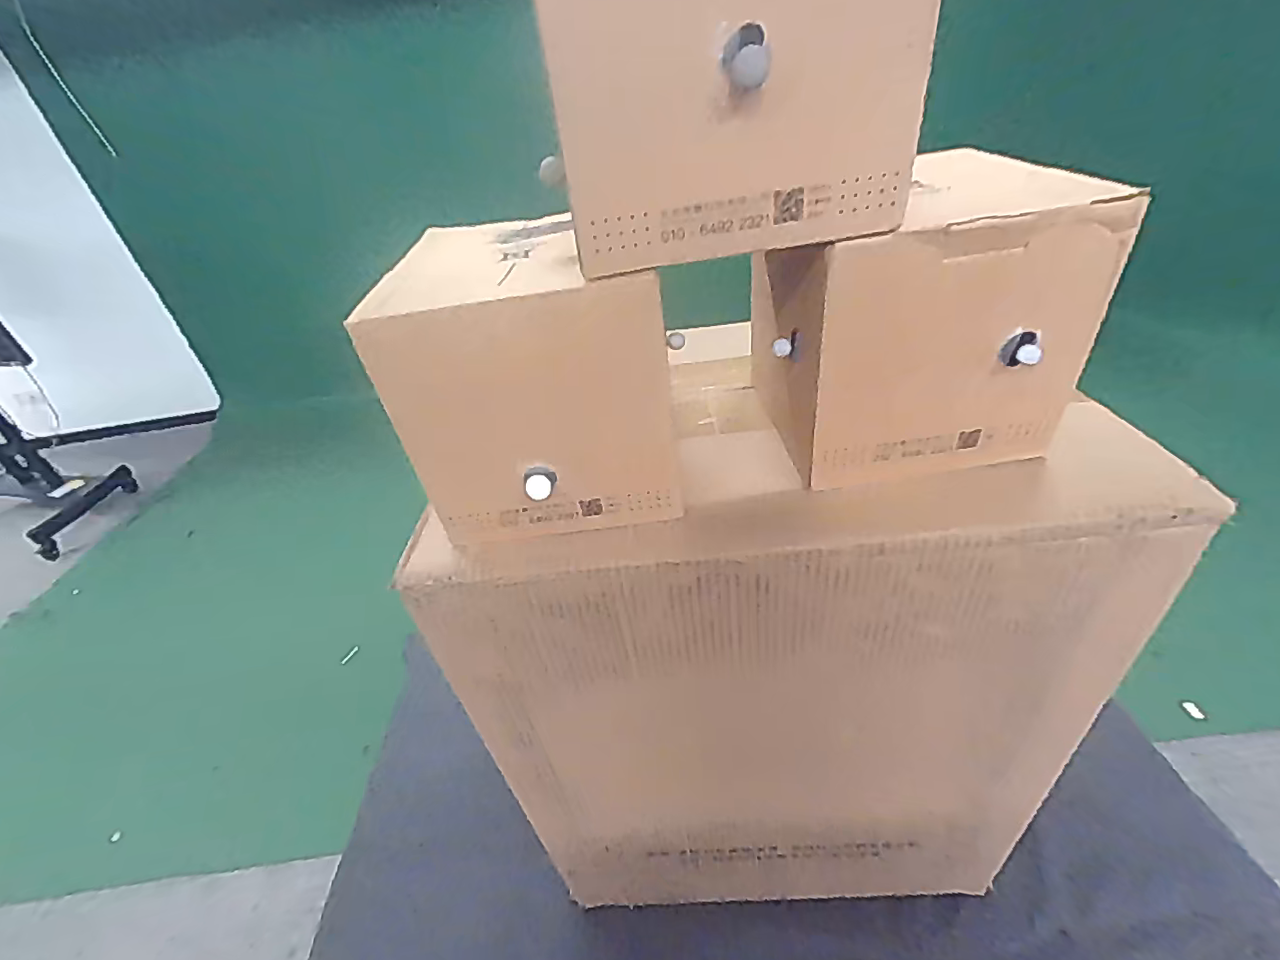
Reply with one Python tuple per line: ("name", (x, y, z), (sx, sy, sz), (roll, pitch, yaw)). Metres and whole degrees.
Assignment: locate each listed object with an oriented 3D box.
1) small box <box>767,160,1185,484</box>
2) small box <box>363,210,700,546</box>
("small box", (0.194, -0.109, 0.384), (0.168, 0.176, 0.179), (-7, 38, -1))
("small box", (-0.049, -0.076, 0.378), (0.168, 0.176, 0.179), (-6, 39, 5))
